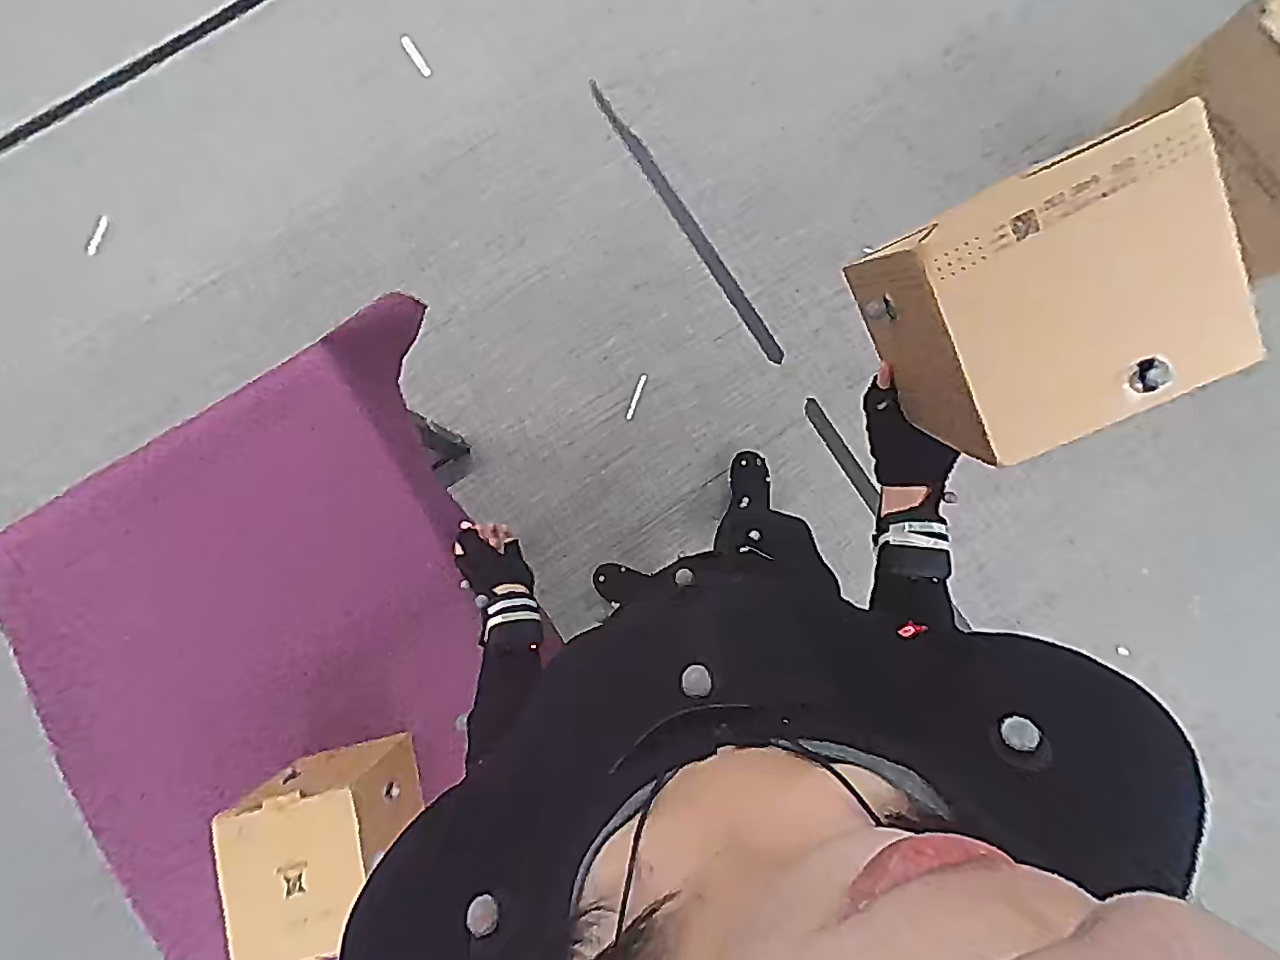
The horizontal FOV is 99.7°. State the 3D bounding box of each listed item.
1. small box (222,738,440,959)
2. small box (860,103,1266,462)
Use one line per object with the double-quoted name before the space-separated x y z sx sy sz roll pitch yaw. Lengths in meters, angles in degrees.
"small box" -0.380 0.455 0.693 0.168 0.176 0.179 -14 85 0
"small box" 0.291 -0.141 0.412 0.168 0.179 0.176 -26 103 14
